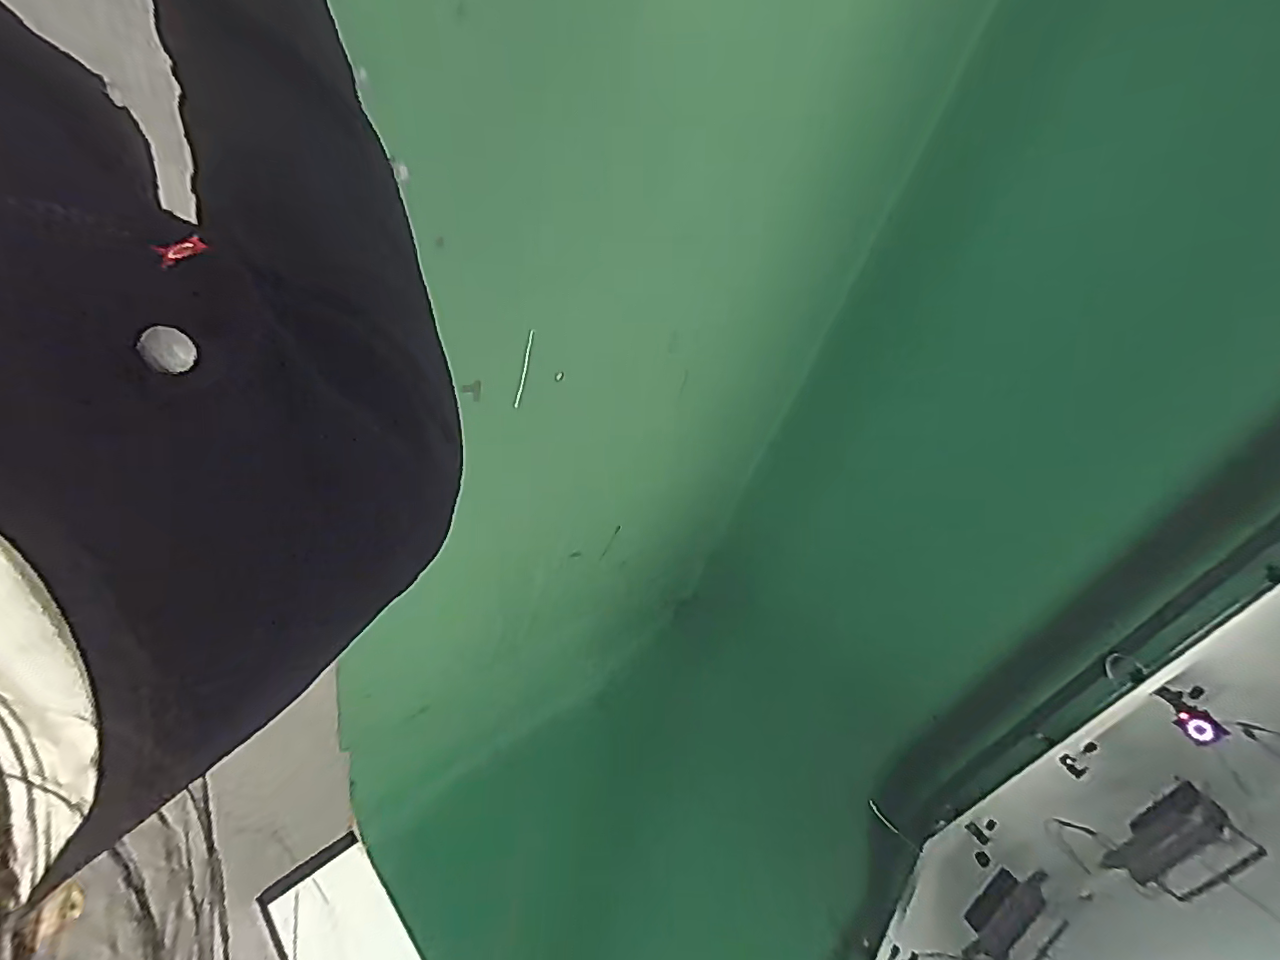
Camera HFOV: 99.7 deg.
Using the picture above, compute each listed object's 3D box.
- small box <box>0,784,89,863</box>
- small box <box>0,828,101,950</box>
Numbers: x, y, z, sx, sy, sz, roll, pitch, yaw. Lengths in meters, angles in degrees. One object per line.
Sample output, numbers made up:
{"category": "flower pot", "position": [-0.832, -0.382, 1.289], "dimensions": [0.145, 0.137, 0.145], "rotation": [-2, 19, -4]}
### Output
{"category": "small box", "position": [-1.748, 1.030, 1.558], "dimensions": [0.179, 0.176, 0.168], "rotation": [-22, 142, -45]}
{"category": "small box", "position": [-1.633, 1.111, 1.479], "dimensions": [0.179, 0.176, 0.168], "rotation": [-23, 140, -44]}
